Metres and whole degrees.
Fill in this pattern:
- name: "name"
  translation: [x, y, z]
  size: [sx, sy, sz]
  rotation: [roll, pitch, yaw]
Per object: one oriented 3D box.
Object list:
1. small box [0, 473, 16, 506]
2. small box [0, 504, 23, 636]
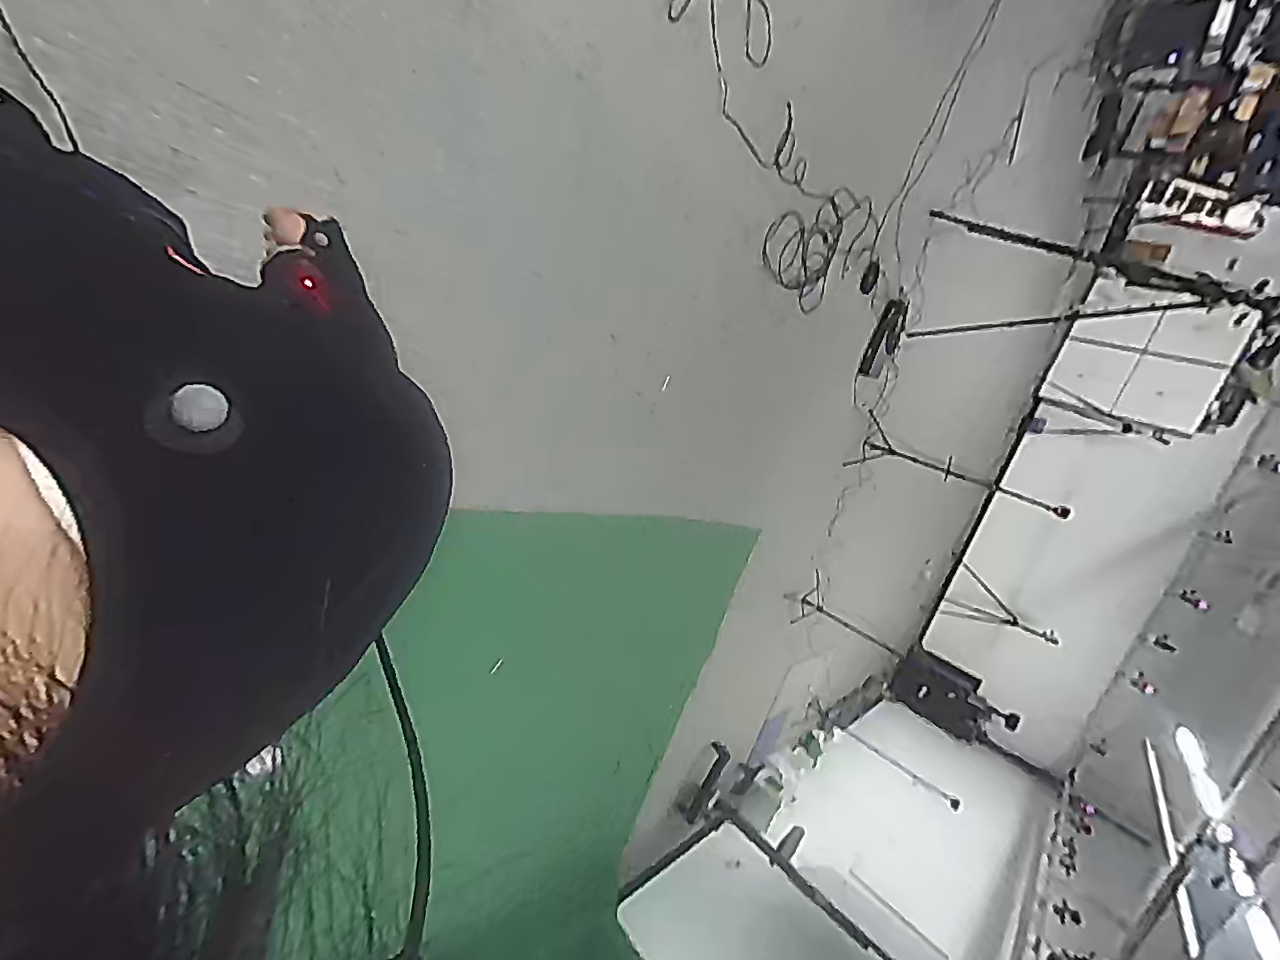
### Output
- name: "small box"
  translation: [-1.199, 0.080, 0.919]
  size: [0.168, 0.176, 0.179]
  rotation: [9, 105, -49]
- name: "small box"
  translation: [-1.080, 0.133, 0.819]
  size: [0.179, 0.176, 0.168]
  rotation: [11, 103, -49]
